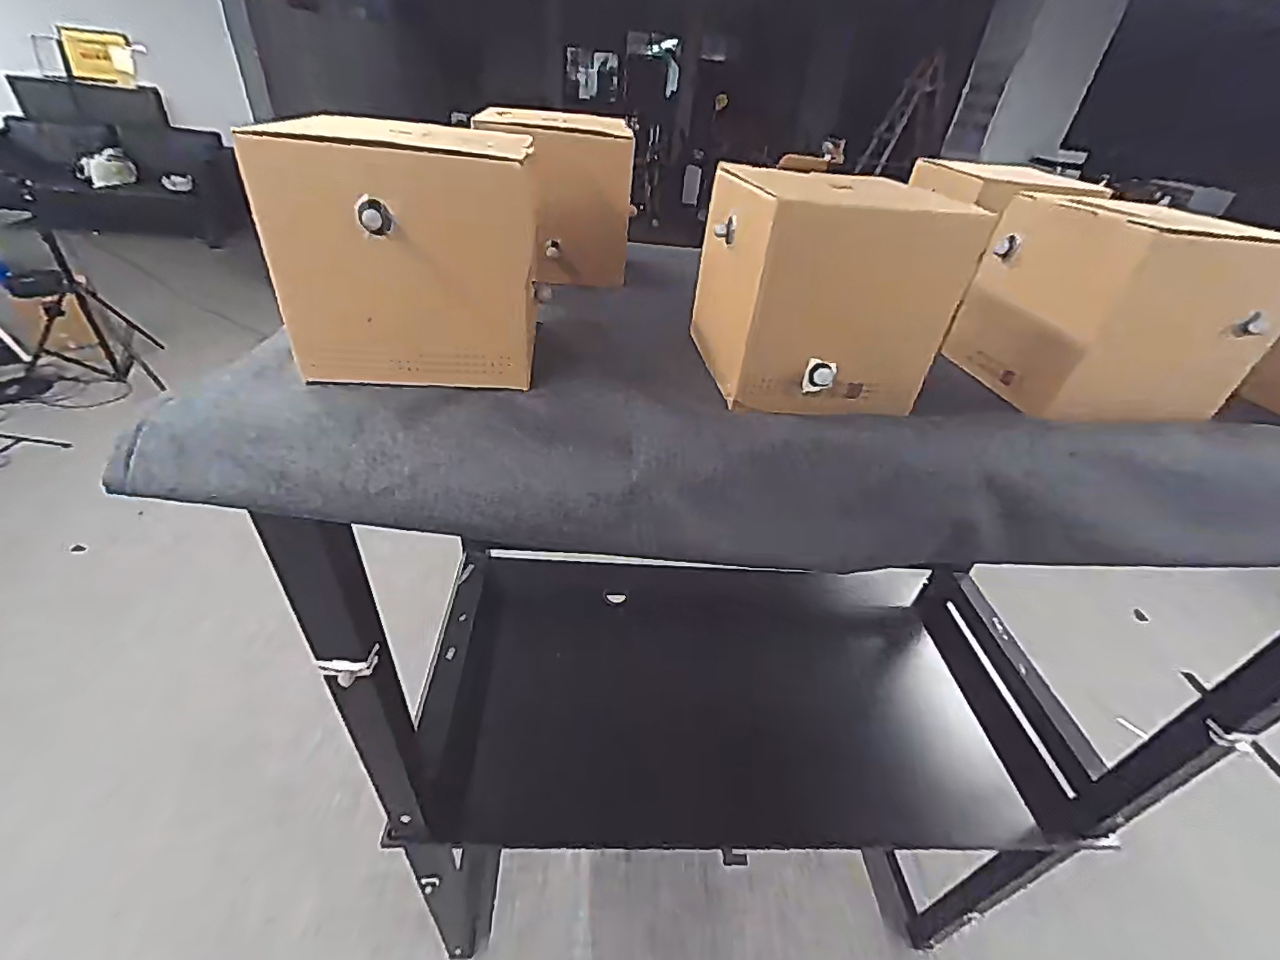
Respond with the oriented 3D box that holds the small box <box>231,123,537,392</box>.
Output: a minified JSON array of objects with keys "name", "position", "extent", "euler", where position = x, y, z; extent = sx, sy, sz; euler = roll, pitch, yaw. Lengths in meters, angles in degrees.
[{"name":"small box","position":[-0.179,-0.183,0.447],"extent":[0.179,0.176,0.168],"euler":[1,36,-9]}]

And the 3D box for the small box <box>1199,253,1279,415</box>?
[{"name":"small box","position":[0.745,-0.139,0.532],"extent":[0.168,0.176,0.179],"euler":[1,36,-7]}]

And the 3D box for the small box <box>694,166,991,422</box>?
[{"name":"small box","position":[0.151,-0.167,0.481],"extent":[0.168,0.176,0.179],"euler":[0,36,-8]}]

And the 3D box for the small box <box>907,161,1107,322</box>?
[{"name":"small box","position":[0.467,-0.330,0.749],"extent":[0.168,0.176,0.179],"euler":[2,37,-6]}]

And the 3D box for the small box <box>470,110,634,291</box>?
[{"name":"small box","position":[-0.107,-0.351,0.686],"extent":[0.179,0.176,0.168],"euler":[2,37,-7]}]
